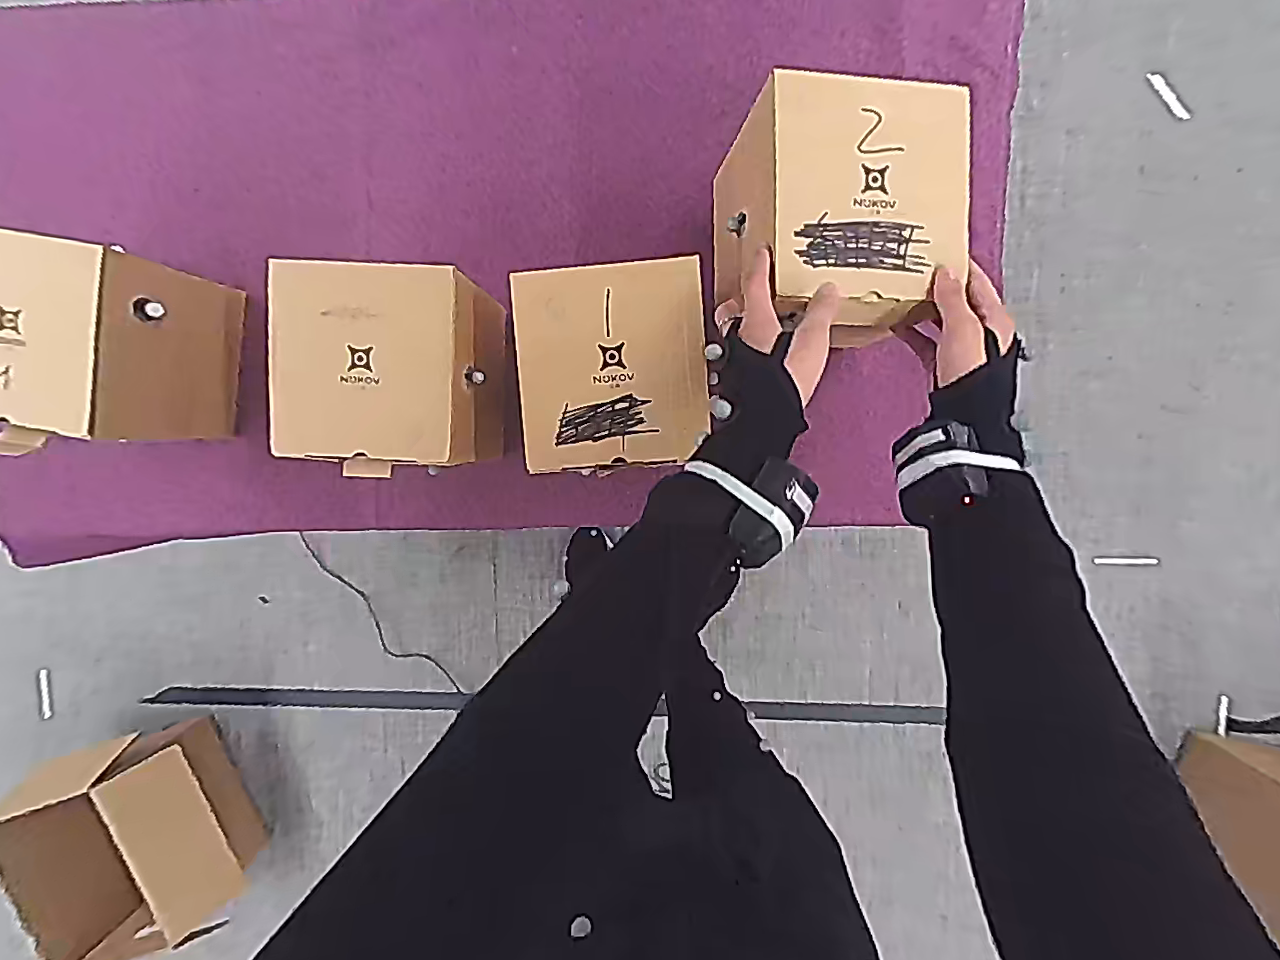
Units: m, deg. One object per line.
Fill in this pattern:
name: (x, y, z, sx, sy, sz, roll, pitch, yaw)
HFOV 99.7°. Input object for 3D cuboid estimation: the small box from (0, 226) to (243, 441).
small box: (-0.557, -0.141, 0.562, 0.168, 0.176, 0.179, 10, 96, 1)

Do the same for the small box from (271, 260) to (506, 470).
small box: (-0.241, -0.108, 0.556, 0.168, 0.176, 0.179, 3, 95, 1)
